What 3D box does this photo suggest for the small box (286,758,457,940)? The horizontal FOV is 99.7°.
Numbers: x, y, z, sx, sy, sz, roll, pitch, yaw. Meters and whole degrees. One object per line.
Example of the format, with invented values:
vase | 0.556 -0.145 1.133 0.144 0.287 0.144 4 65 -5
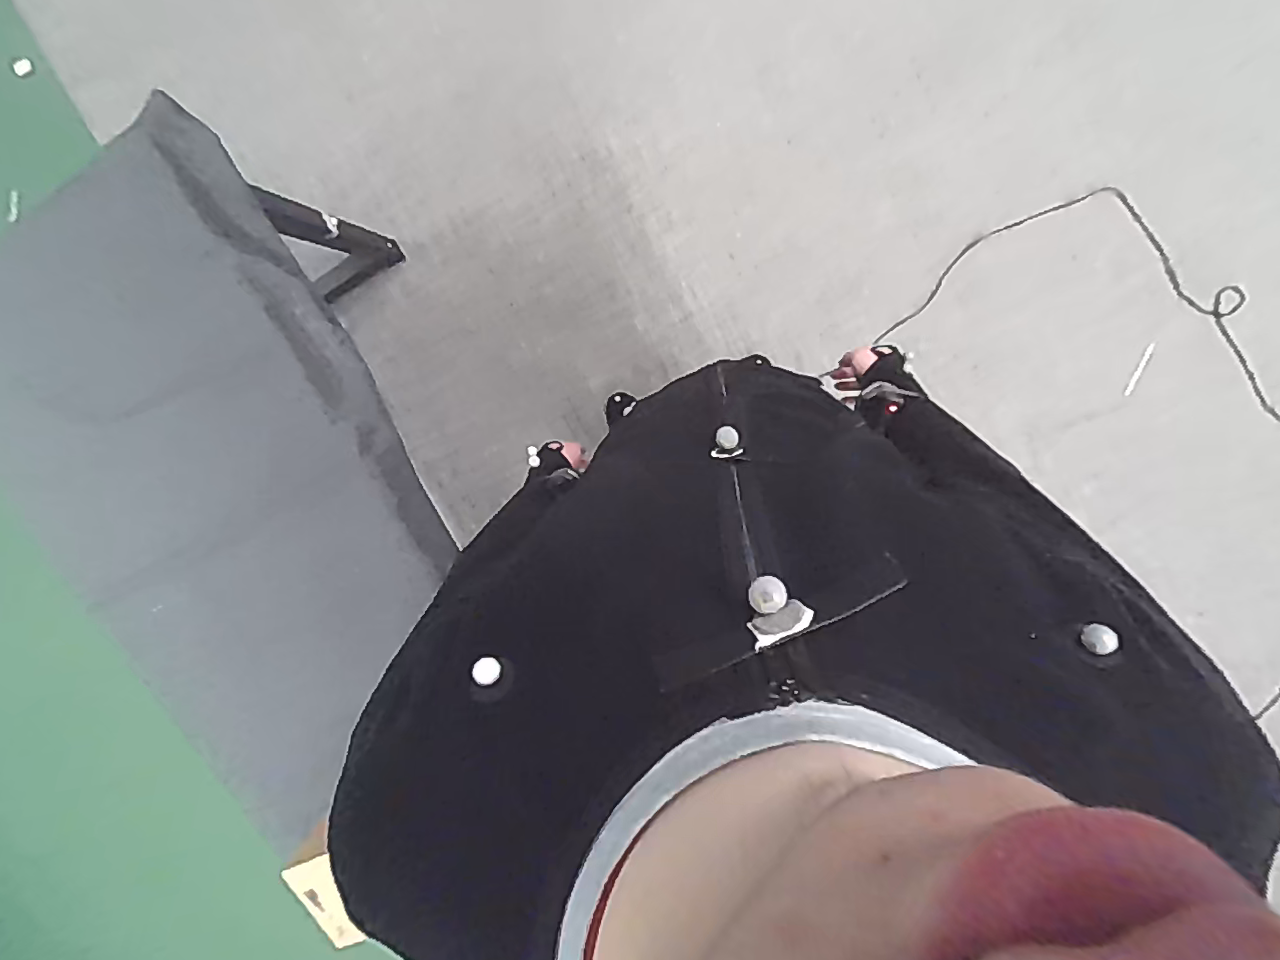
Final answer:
small box | -0.440 0.617 0.925 0.179 0.176 0.168 -28 98 9
